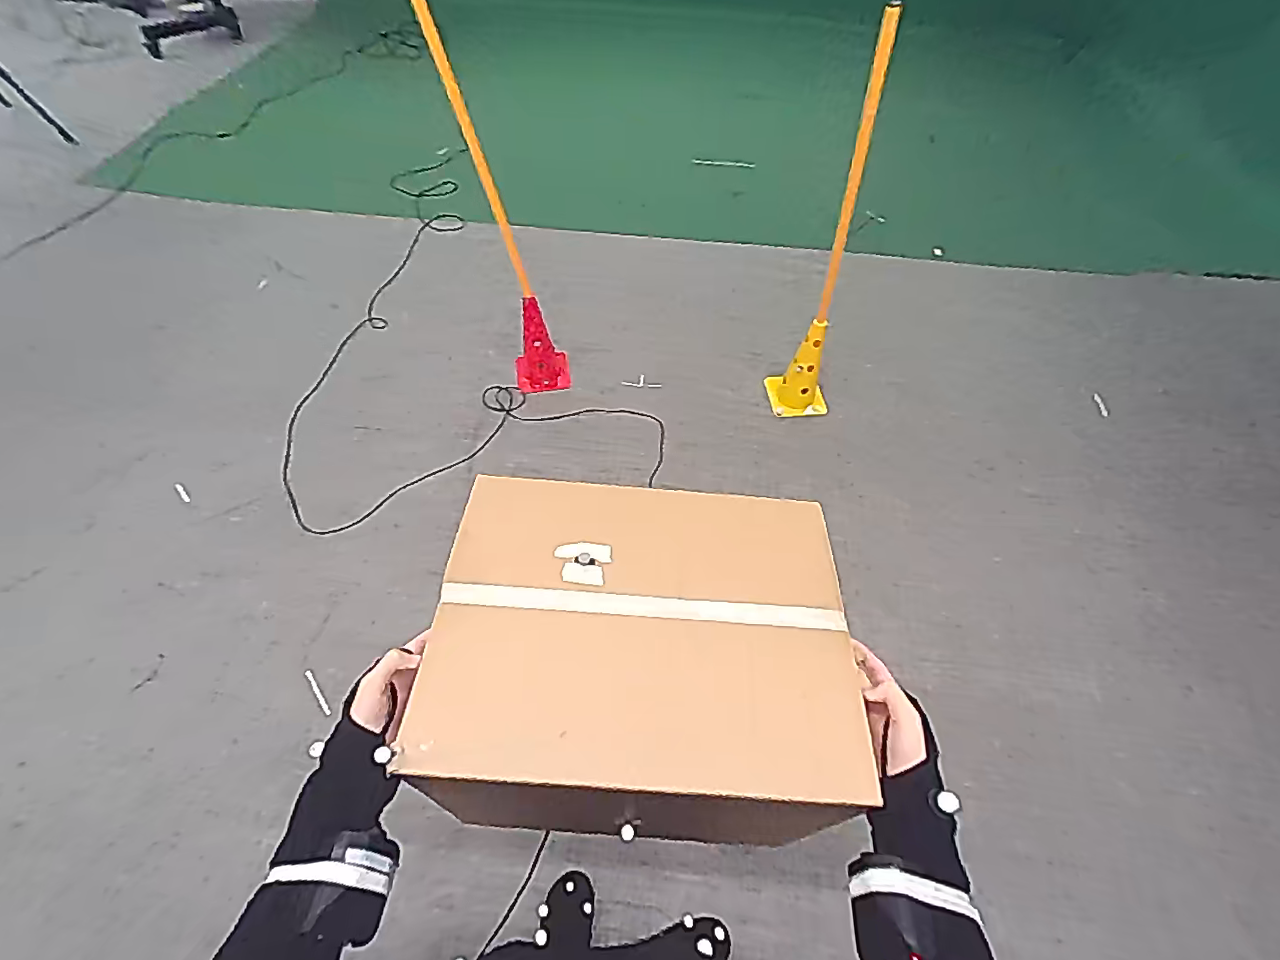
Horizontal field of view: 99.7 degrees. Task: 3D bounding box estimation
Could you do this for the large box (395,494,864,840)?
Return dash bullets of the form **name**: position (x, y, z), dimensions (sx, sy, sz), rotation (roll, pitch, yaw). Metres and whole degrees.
- **large box**: position (-0.008, 0.238, 0.660), dimensions (0.408, 0.320, 0.320), rotation (4, 50, -1)
